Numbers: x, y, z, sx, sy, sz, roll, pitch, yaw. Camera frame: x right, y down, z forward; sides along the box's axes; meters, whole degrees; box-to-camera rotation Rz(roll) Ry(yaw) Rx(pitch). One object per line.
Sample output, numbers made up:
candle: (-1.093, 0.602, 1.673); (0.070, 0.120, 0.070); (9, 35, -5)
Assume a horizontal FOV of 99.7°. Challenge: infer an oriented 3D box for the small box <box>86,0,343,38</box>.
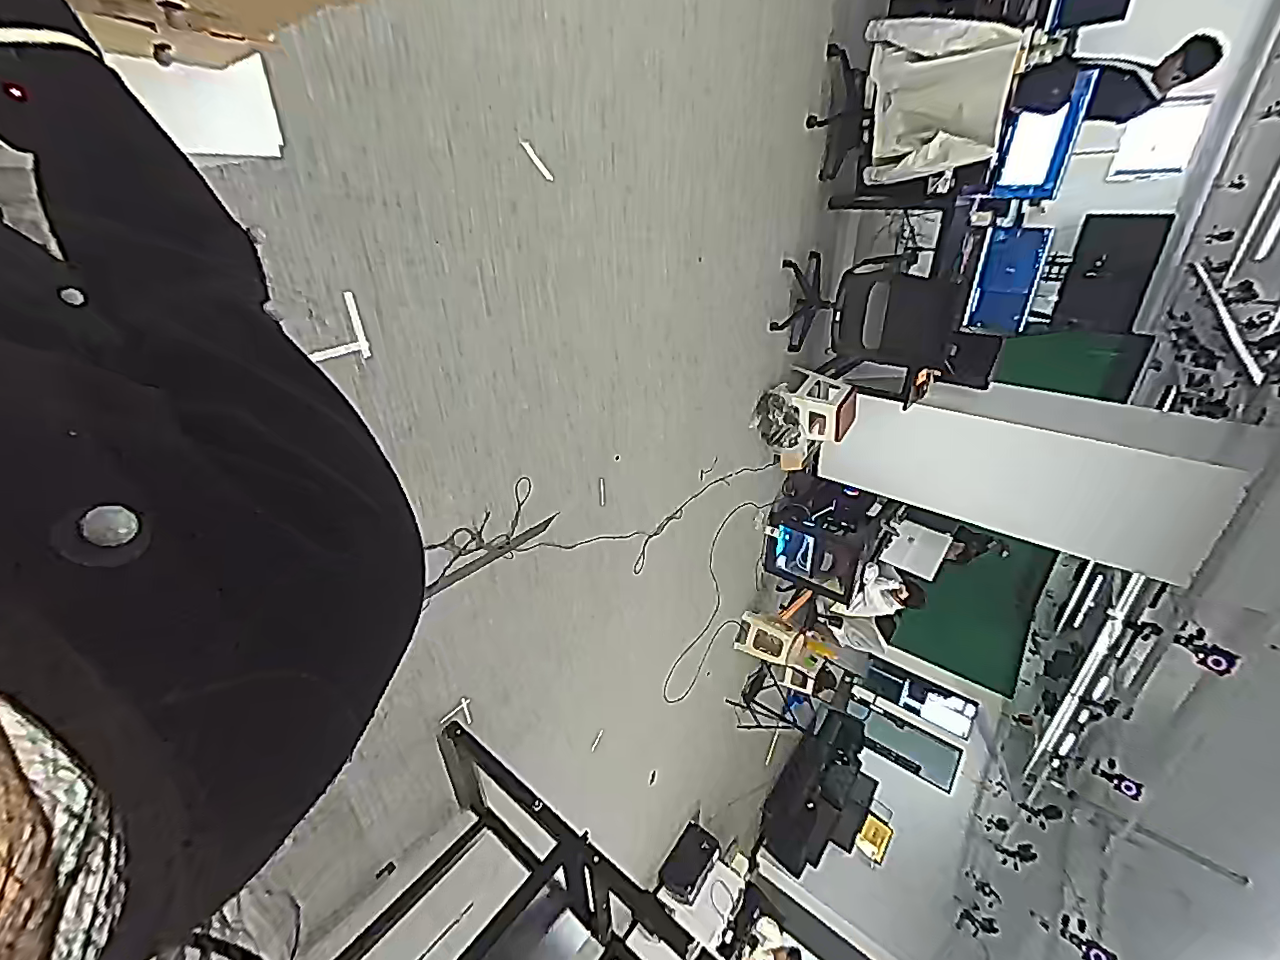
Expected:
small box: (-0.373, -0.488, 0.427); (0.168, 0.176, 0.179); (-28, 128, -43)
